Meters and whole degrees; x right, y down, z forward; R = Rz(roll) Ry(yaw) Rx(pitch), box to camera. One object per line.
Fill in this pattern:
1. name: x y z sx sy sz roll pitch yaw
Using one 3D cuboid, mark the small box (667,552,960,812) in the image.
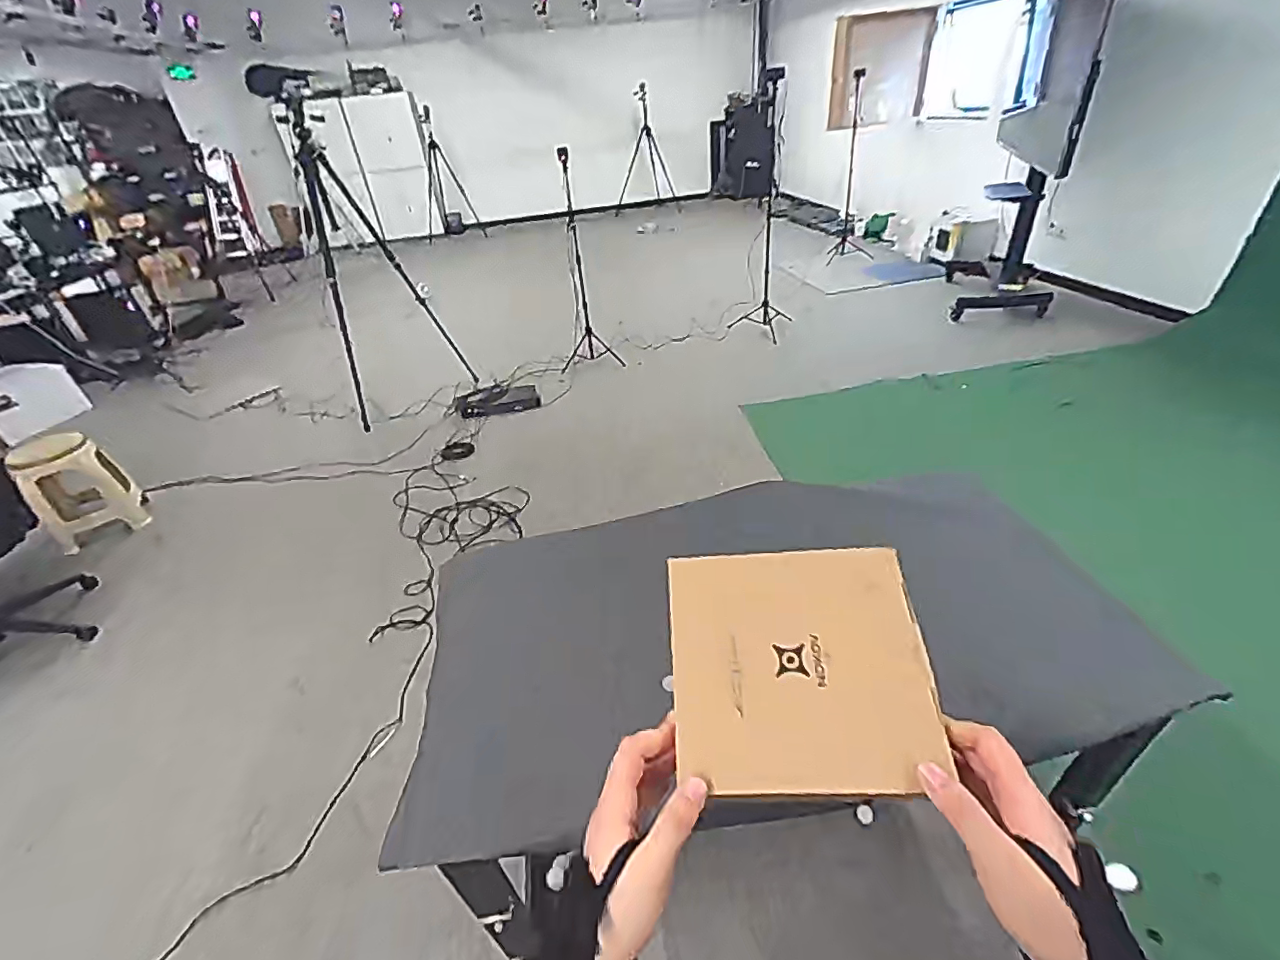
1. small box: 0.118 0.171 0.441 0.179 0.176 0.168 -5 57 8
